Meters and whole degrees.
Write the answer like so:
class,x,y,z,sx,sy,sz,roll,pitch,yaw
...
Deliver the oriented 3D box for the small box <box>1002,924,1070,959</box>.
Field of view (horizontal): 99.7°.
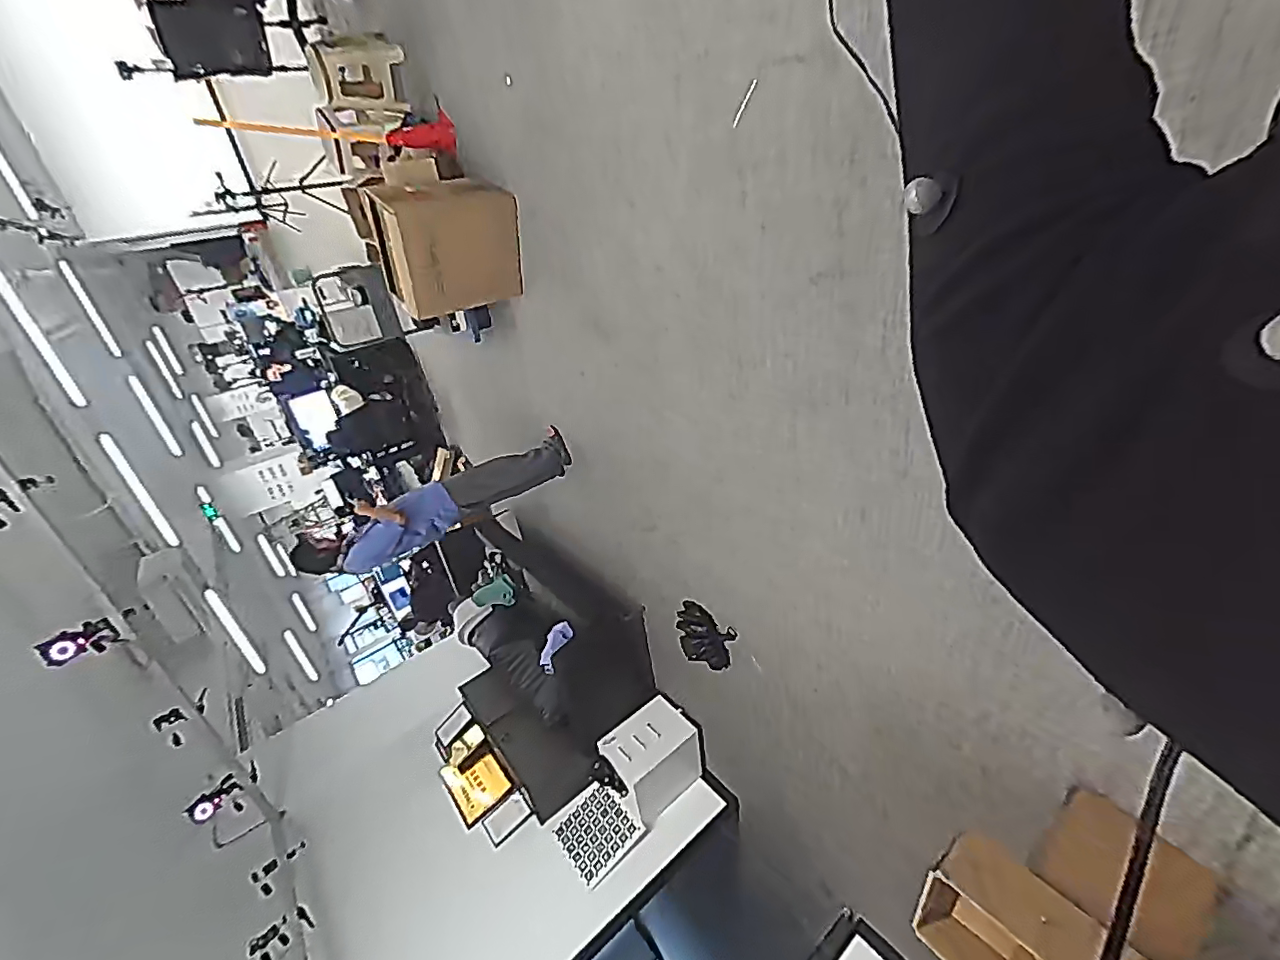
class,x,y,z,sx,sy,sz,roll,pitch,yaw
small box,1.029,1.309,1.394,0.168,0.176,0.179,27,136,47
